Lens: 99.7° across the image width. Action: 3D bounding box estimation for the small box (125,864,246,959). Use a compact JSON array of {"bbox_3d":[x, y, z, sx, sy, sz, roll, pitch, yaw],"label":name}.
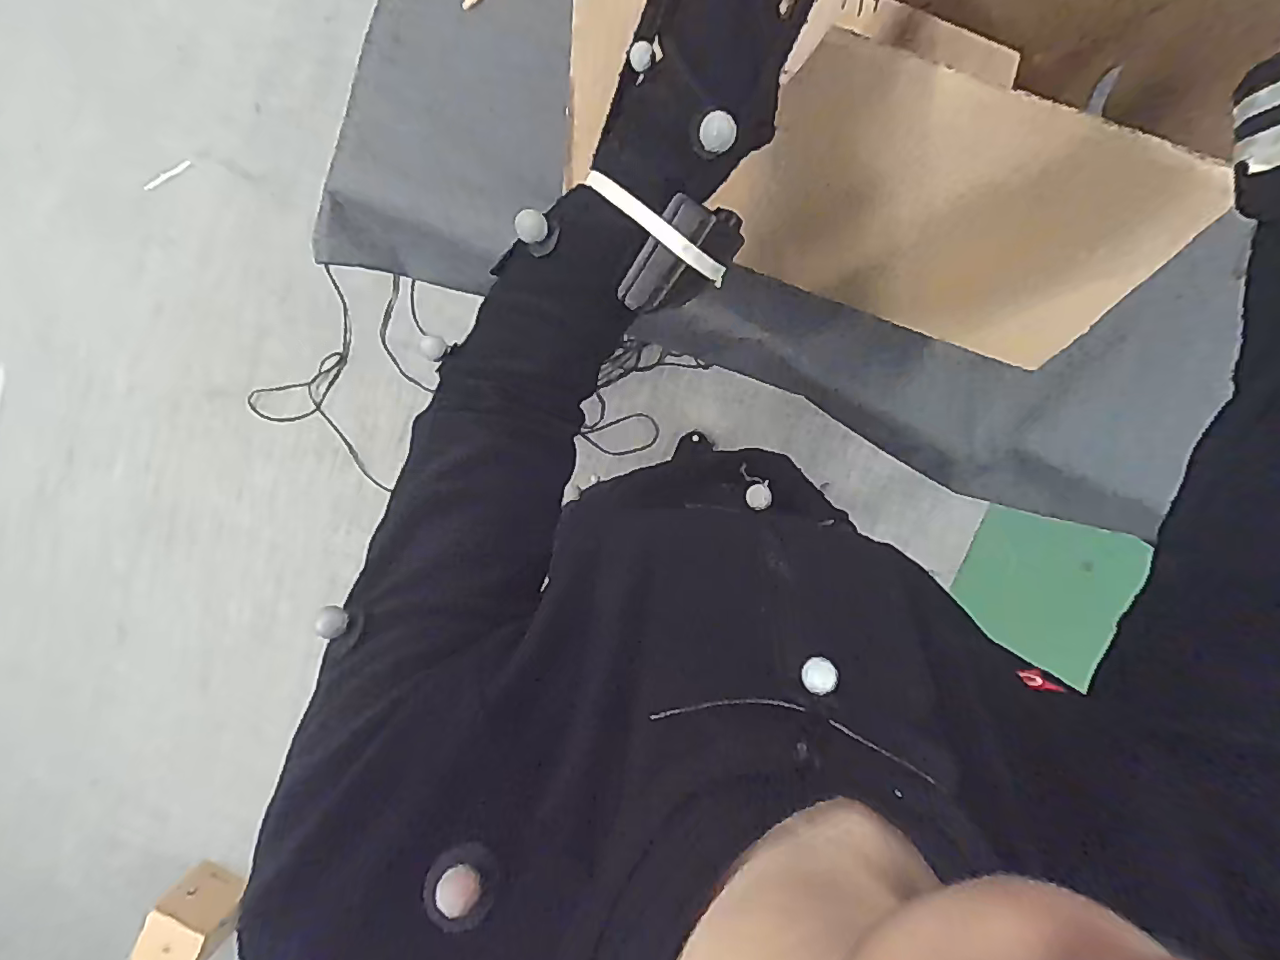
[{"bbox_3d":[-1.233,1.211,1.481,0.168,0.176,0.179,25,98,1],"label":"small box"}]
